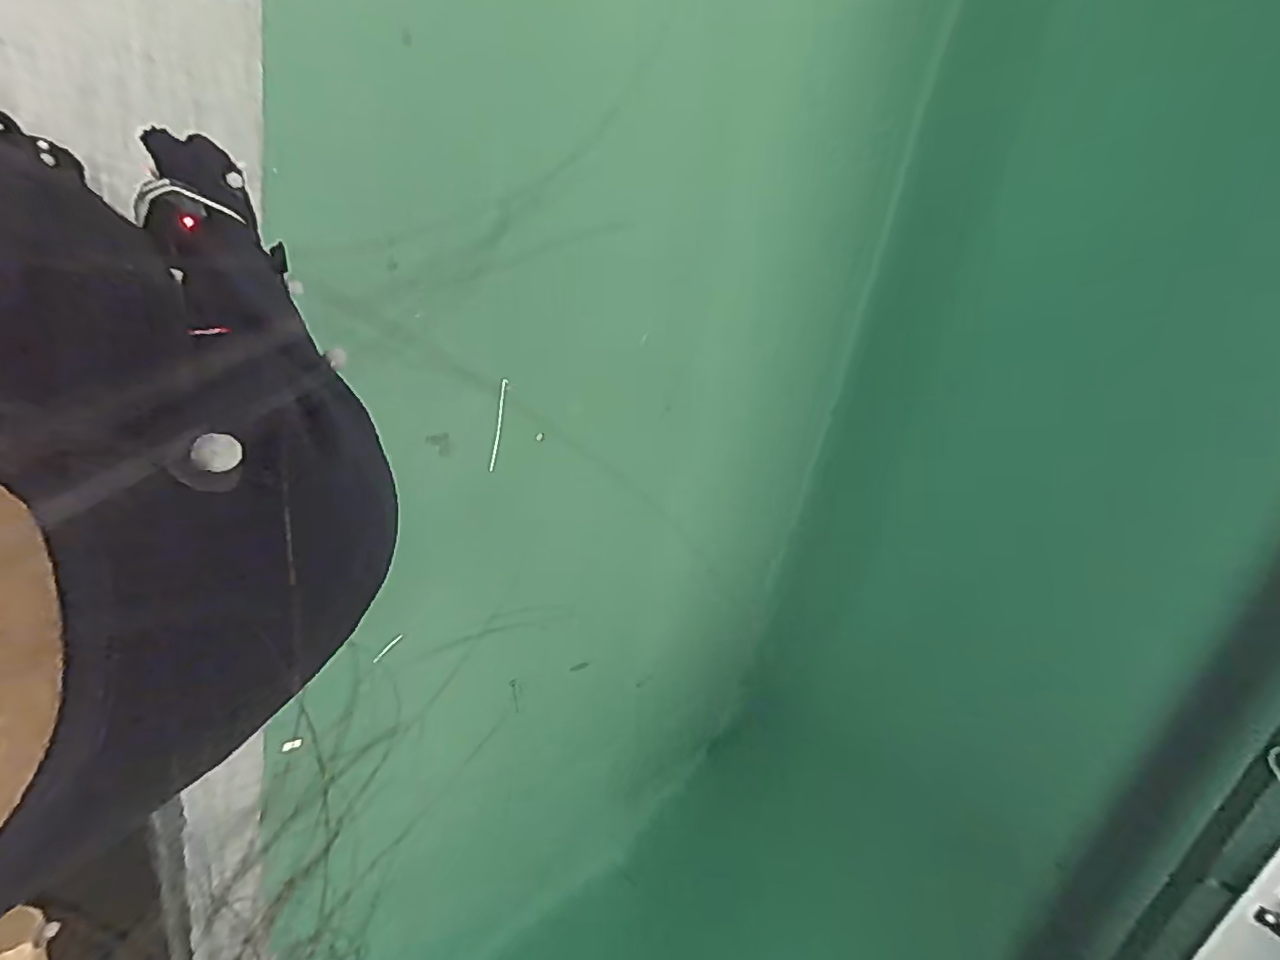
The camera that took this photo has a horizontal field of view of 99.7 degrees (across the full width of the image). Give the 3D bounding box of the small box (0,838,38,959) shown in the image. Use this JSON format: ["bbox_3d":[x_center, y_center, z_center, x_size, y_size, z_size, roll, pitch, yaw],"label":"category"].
[{"bbox_3d":[-0.741,0.512,0.551,0.168,0.176,0.179,-5,115,-47],"label":"small box"}]
